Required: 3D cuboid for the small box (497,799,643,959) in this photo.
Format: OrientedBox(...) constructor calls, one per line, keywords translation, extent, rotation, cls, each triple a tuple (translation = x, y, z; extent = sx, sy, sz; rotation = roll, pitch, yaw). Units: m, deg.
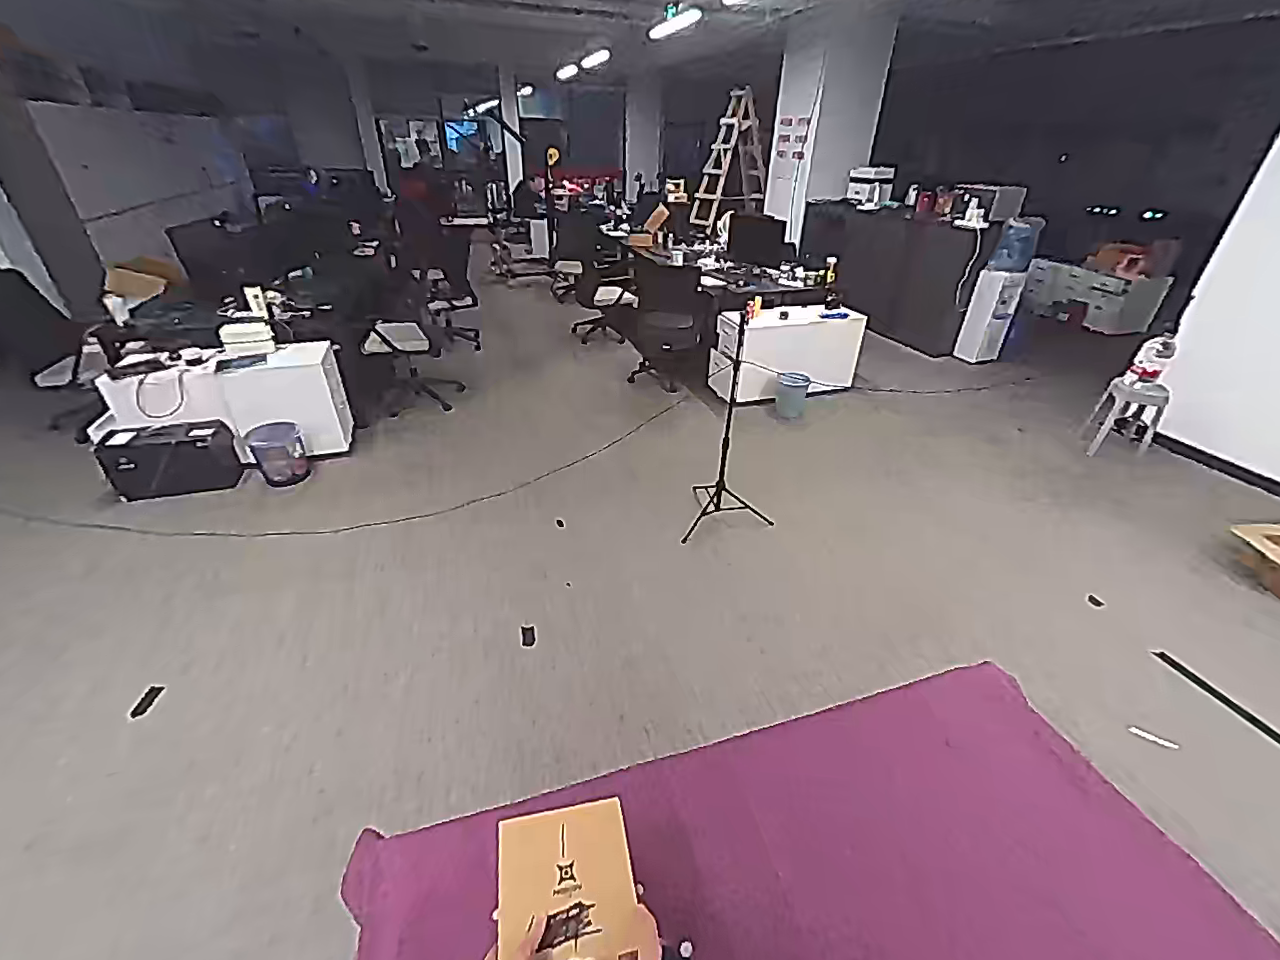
OrientedBox(translation=(-0.091, 0.559, 0.701), extent=(0.168, 0.176, 0.179), rotation=(-5, 33, -11), cls="small box")
